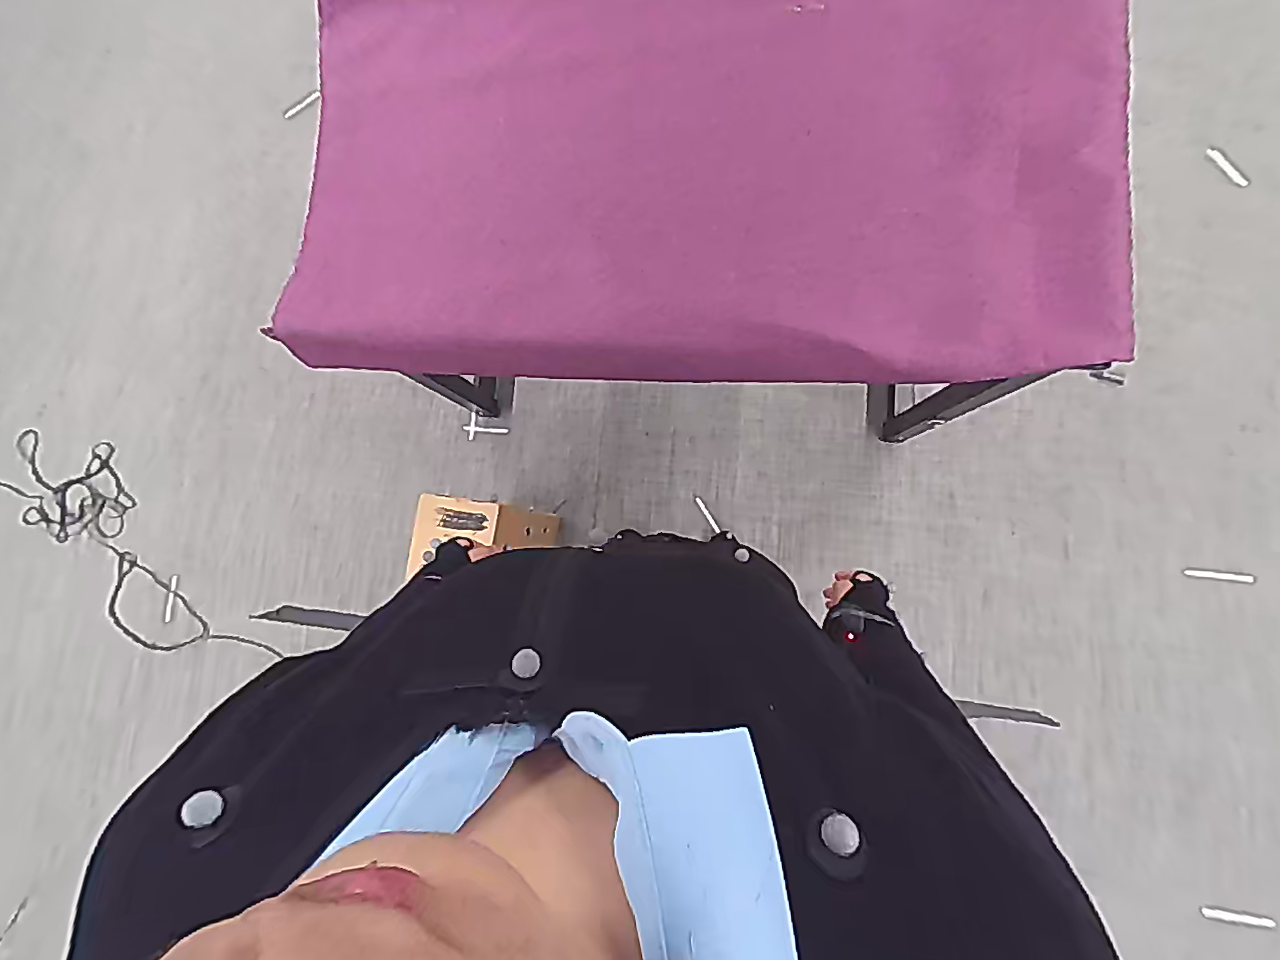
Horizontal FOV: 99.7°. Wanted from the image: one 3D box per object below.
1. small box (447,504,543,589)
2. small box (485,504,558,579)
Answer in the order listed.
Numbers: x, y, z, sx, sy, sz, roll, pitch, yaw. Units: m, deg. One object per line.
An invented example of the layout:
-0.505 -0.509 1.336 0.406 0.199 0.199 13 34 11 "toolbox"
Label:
-0.337 0.157 1.294 0.168 0.176 0.179 6 85 6 "small box"
-0.329 0.169 1.458 0.168 0.176 0.179 11 85 6 "small box"
